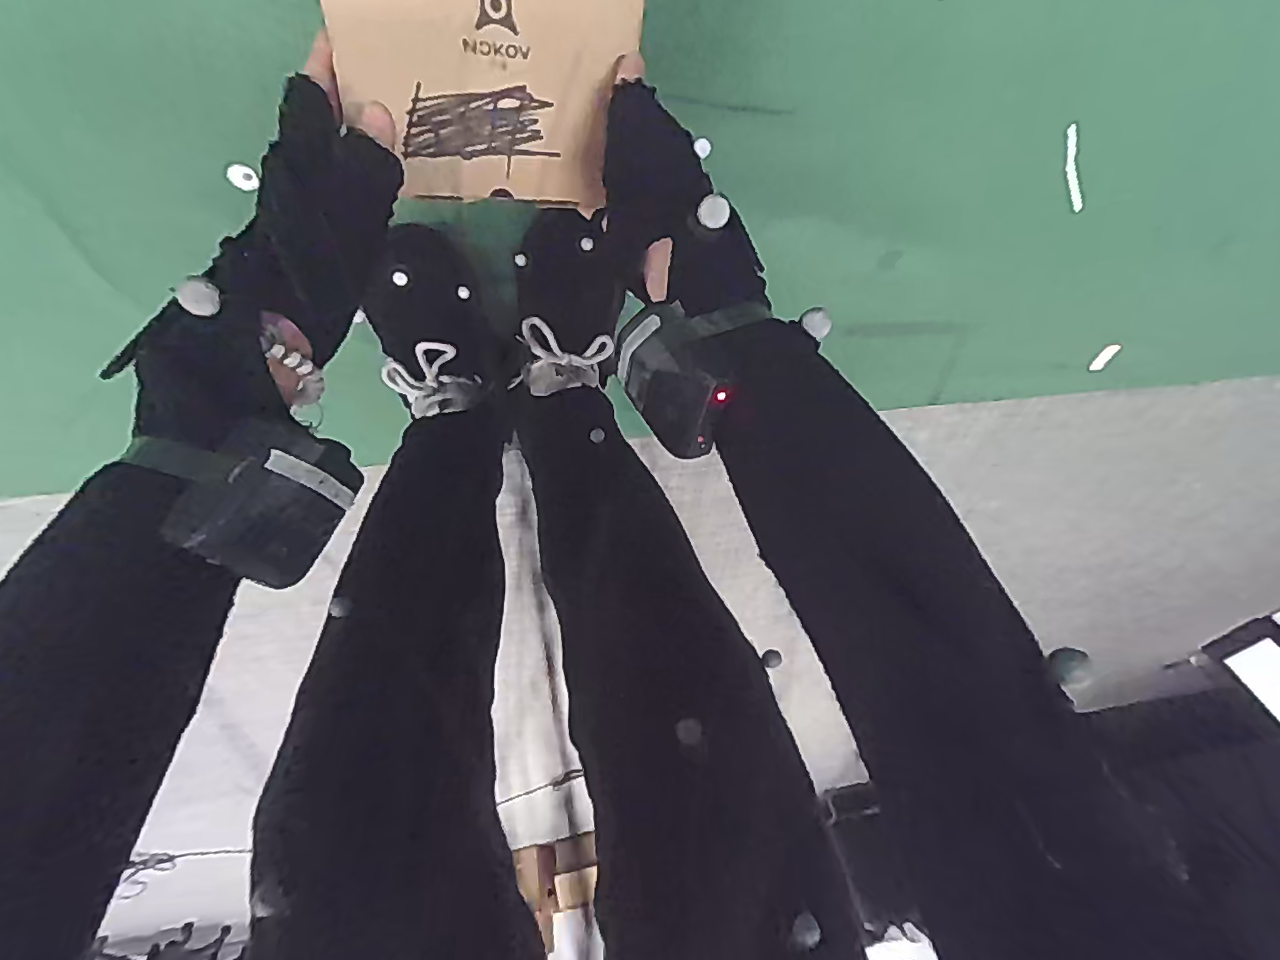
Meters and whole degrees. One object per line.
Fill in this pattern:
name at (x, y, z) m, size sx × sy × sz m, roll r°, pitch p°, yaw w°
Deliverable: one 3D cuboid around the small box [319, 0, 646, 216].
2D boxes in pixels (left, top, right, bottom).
small box at (-0.102, -0.288, 0.340) m, size 0.168 × 0.176 × 0.179 m, roll -7°, pitch 133°, yaw -20°
